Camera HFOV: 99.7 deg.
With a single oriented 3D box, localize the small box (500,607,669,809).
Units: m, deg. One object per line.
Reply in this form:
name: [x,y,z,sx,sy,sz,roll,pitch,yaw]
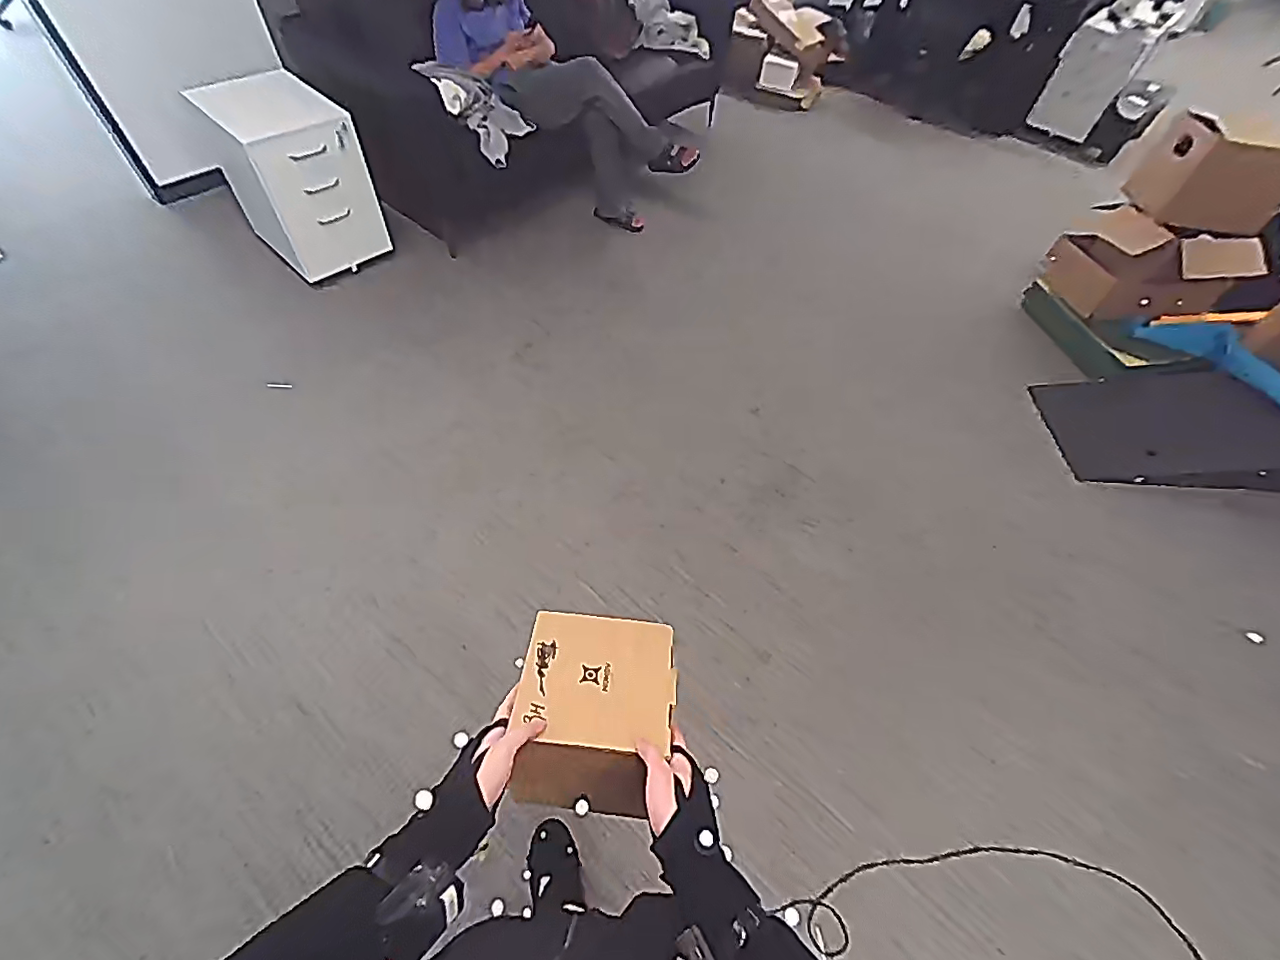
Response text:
small box: [-0.065,0.286,0.676,0.179,0.176,0.168,8,38,-1]
